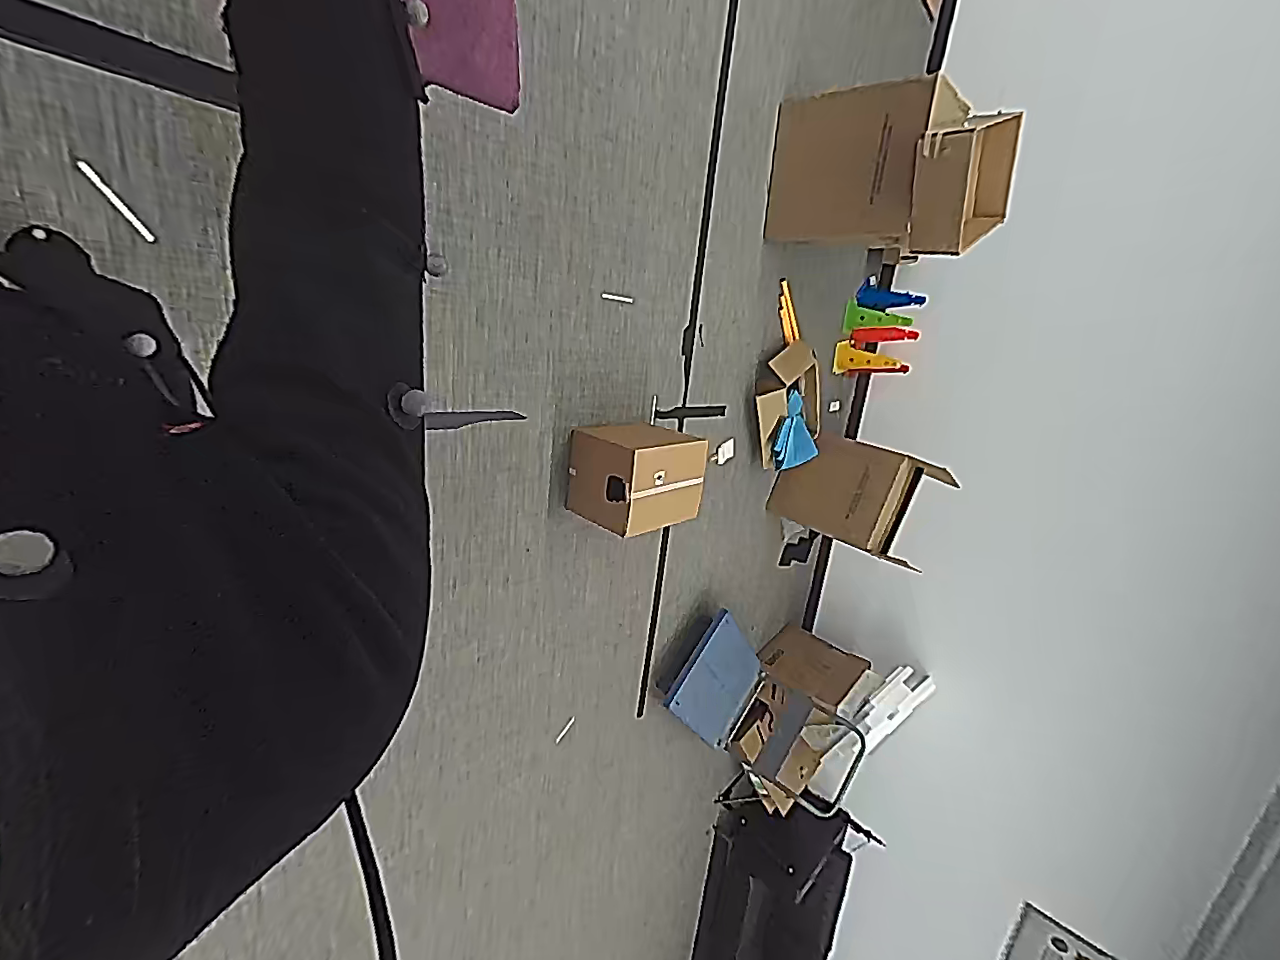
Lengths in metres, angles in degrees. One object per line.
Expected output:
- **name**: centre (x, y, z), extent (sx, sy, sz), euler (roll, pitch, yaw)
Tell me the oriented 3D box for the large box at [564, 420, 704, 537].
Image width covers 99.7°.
- **large box**: centre (-0.021, -0.025, 1.988), extent (0.408, 0.320, 0.320), euler (-12, 114, -46)
